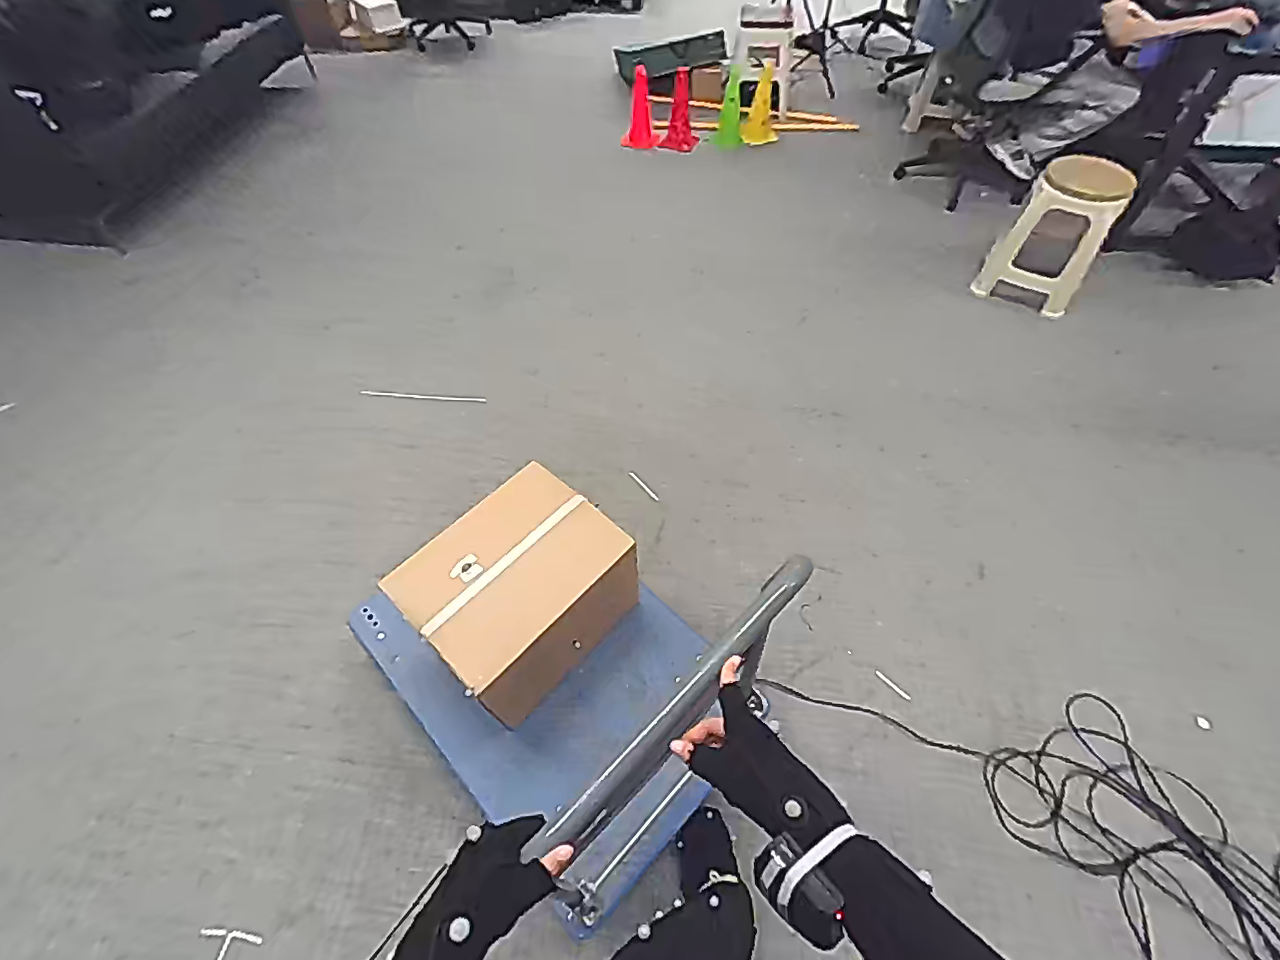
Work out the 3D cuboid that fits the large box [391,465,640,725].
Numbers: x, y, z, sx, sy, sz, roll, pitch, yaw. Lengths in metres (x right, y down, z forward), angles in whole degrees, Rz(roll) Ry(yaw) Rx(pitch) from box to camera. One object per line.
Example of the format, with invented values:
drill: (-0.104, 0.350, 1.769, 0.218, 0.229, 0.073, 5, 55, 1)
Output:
large box: (-0.240, 0.252, 1.192, 0.320, 0.320, 0.408, 35, 64, 23)
